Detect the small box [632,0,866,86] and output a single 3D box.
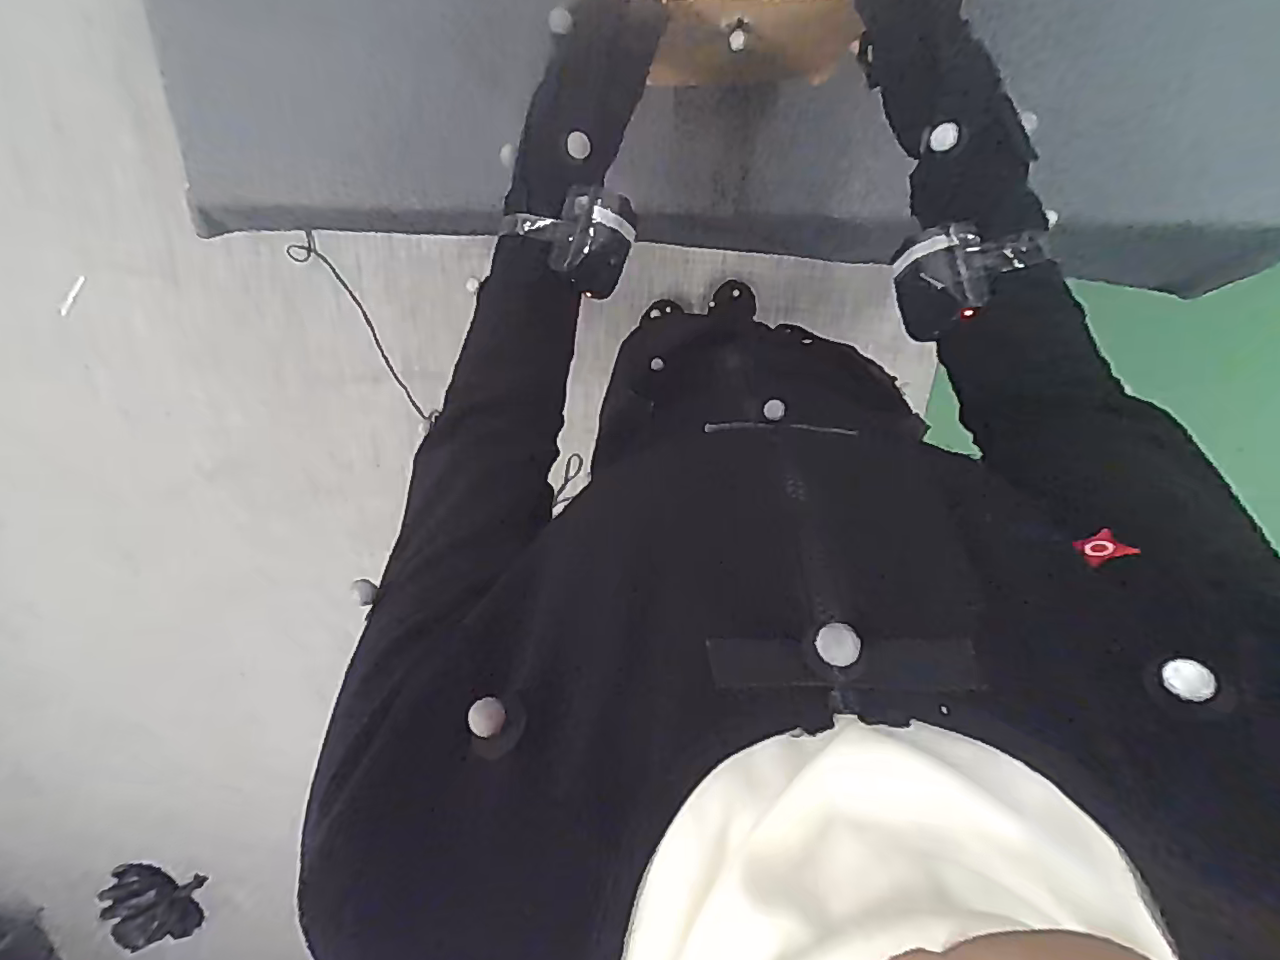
[{"bbox_3d":[0.081,-0.429,0.418,0.179,0.176,0.168,1,109,2],"label":"small box"}]
